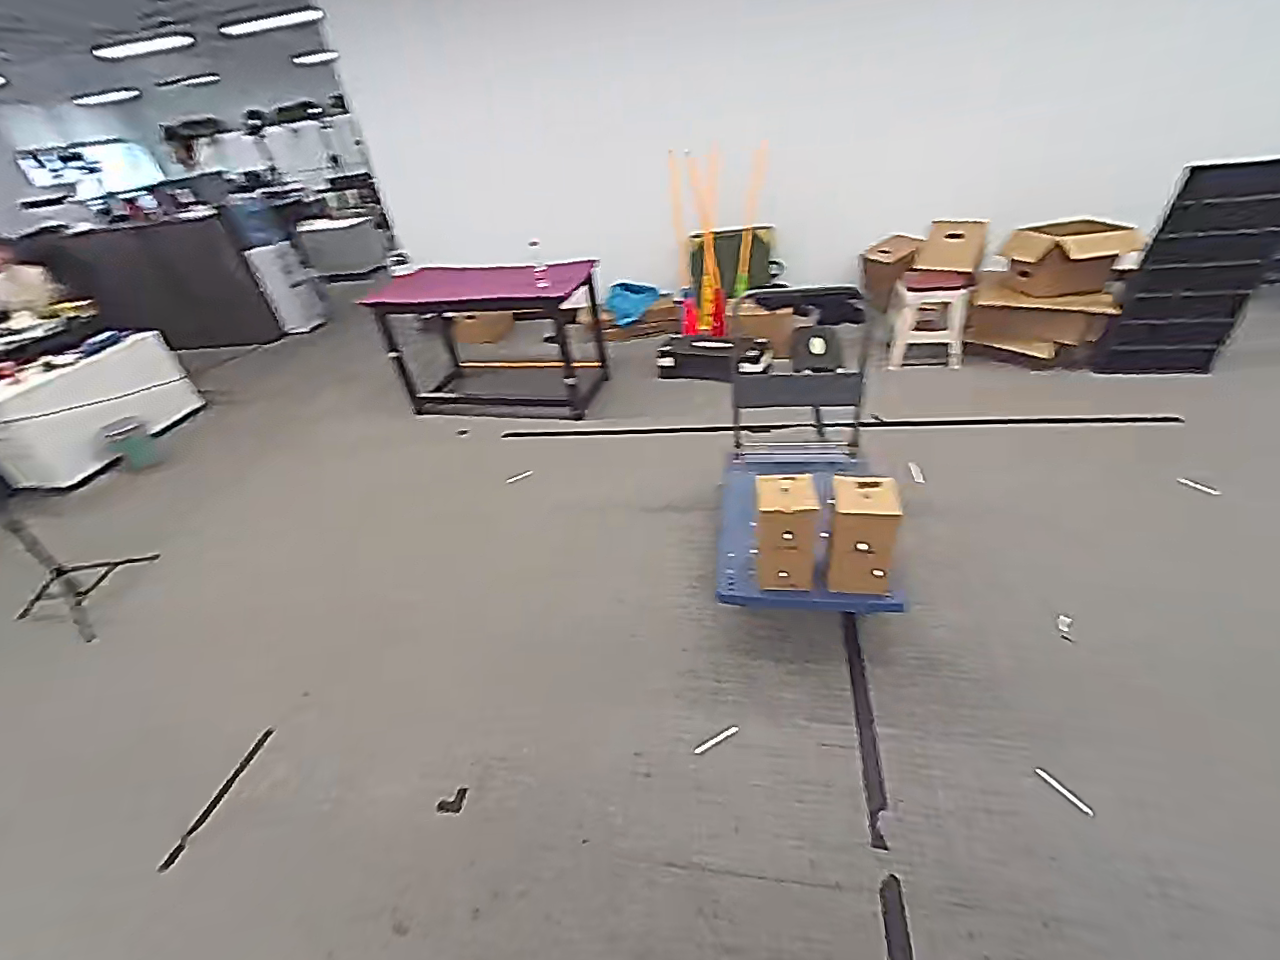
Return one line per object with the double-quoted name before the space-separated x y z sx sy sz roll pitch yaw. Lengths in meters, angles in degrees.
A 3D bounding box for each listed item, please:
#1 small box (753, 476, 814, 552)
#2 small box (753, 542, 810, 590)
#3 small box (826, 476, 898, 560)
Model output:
"small box" 0.433 0.105 1.649 0.168 0.176 0.179 -1 37 9
"small box" 0.452 0.237 1.746 0.168 0.176 0.179 1 36 10
"small box" 0.648 0.110 1.600 0.168 0.176 0.179 3 37 13
